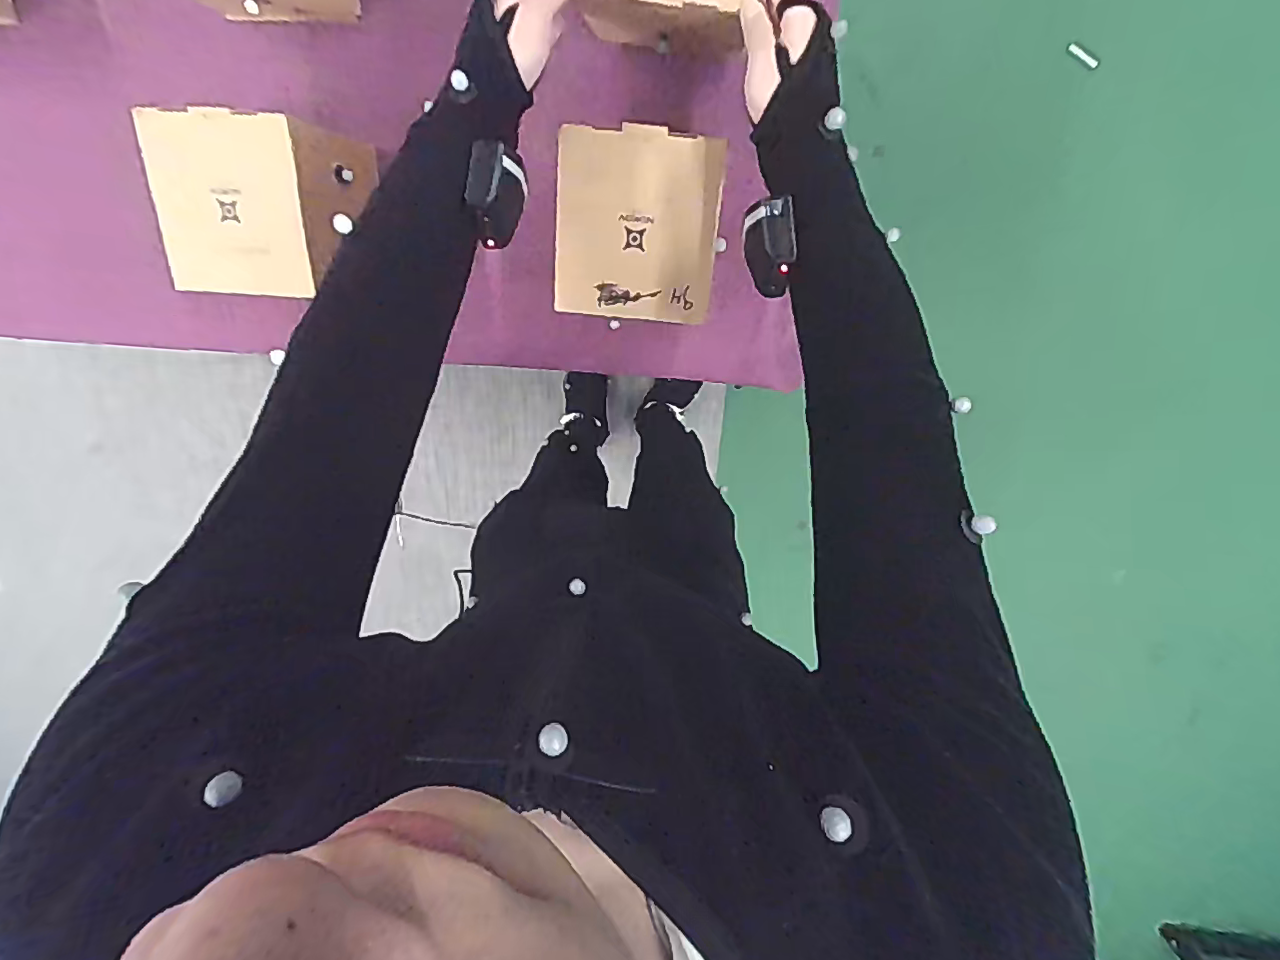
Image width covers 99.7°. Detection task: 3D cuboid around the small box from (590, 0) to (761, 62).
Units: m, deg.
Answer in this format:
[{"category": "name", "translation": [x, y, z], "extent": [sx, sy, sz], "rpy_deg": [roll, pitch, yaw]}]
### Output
[{"category": "small box", "translation": [0.040, -0.511, 0.484], "extent": [0.168, 0.176, 0.179], "rpy_deg": [11, 118, 2]}]

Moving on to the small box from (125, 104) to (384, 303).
[{"category": "small box", "translation": [-0.423, -0.308, 0.630], "extent": [0.168, 0.176, 0.179], "rpy_deg": [5, 112, 2]}]

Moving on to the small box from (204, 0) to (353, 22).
[{"category": "small box", "translation": [-0.407, -0.582, 0.517], "extent": [0.168, 0.176, 0.179], "rpy_deg": [3, 113, 2]}]

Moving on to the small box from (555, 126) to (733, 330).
[{"category": "small box", "translation": [0.004, -0.273, 0.617], "extent": [0.168, 0.176, 0.179], "rpy_deg": [7, 110, 2]}]
